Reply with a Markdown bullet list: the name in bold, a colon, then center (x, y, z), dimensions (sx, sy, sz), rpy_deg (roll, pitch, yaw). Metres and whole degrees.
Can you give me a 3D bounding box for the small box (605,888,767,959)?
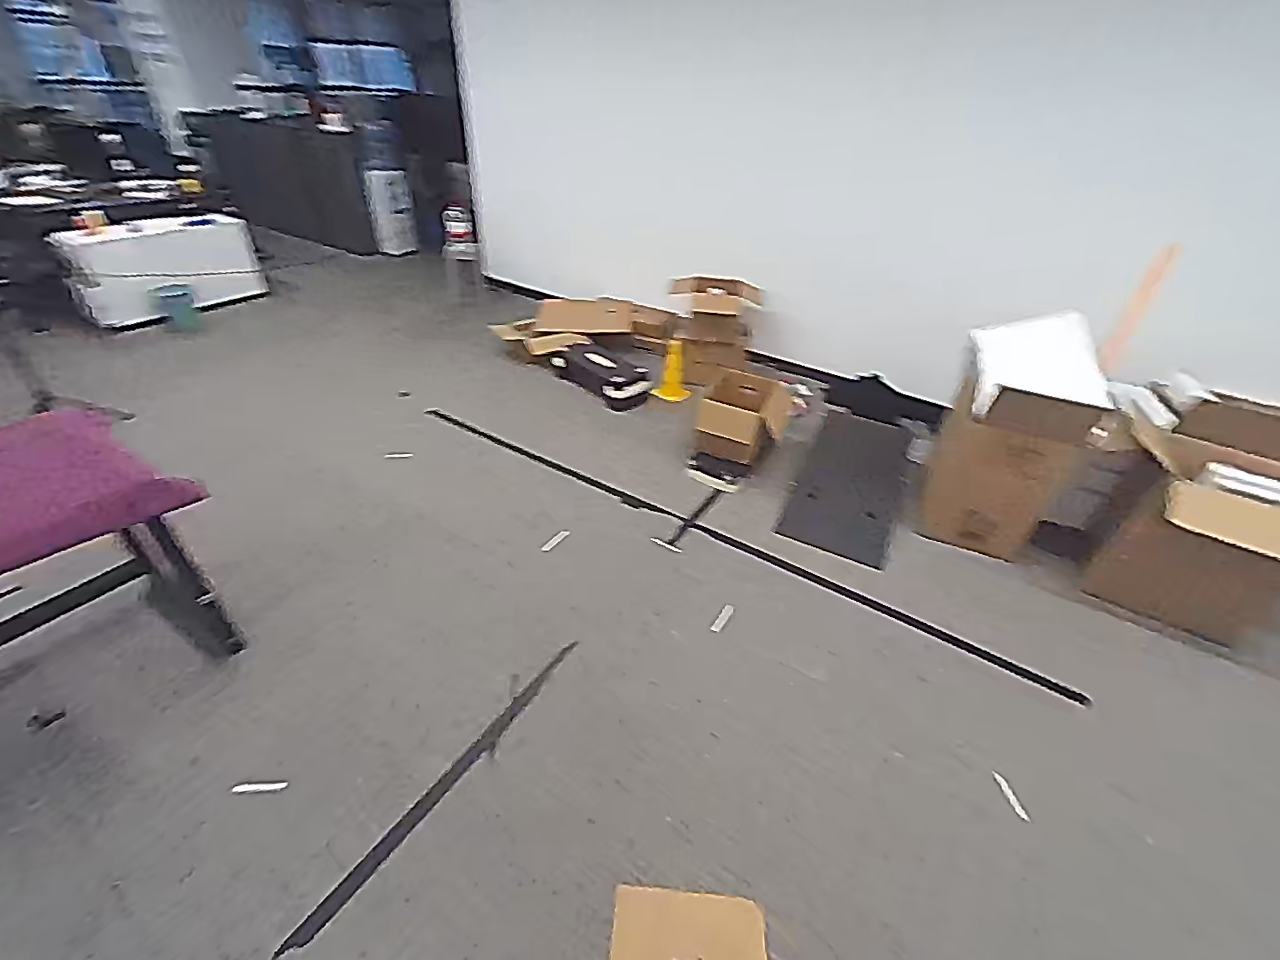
- **small box**: center (0.044, 0.593, 0.591), dimensions (0.179, 0.176, 0.168), rpy_deg (5, 24, 3)
